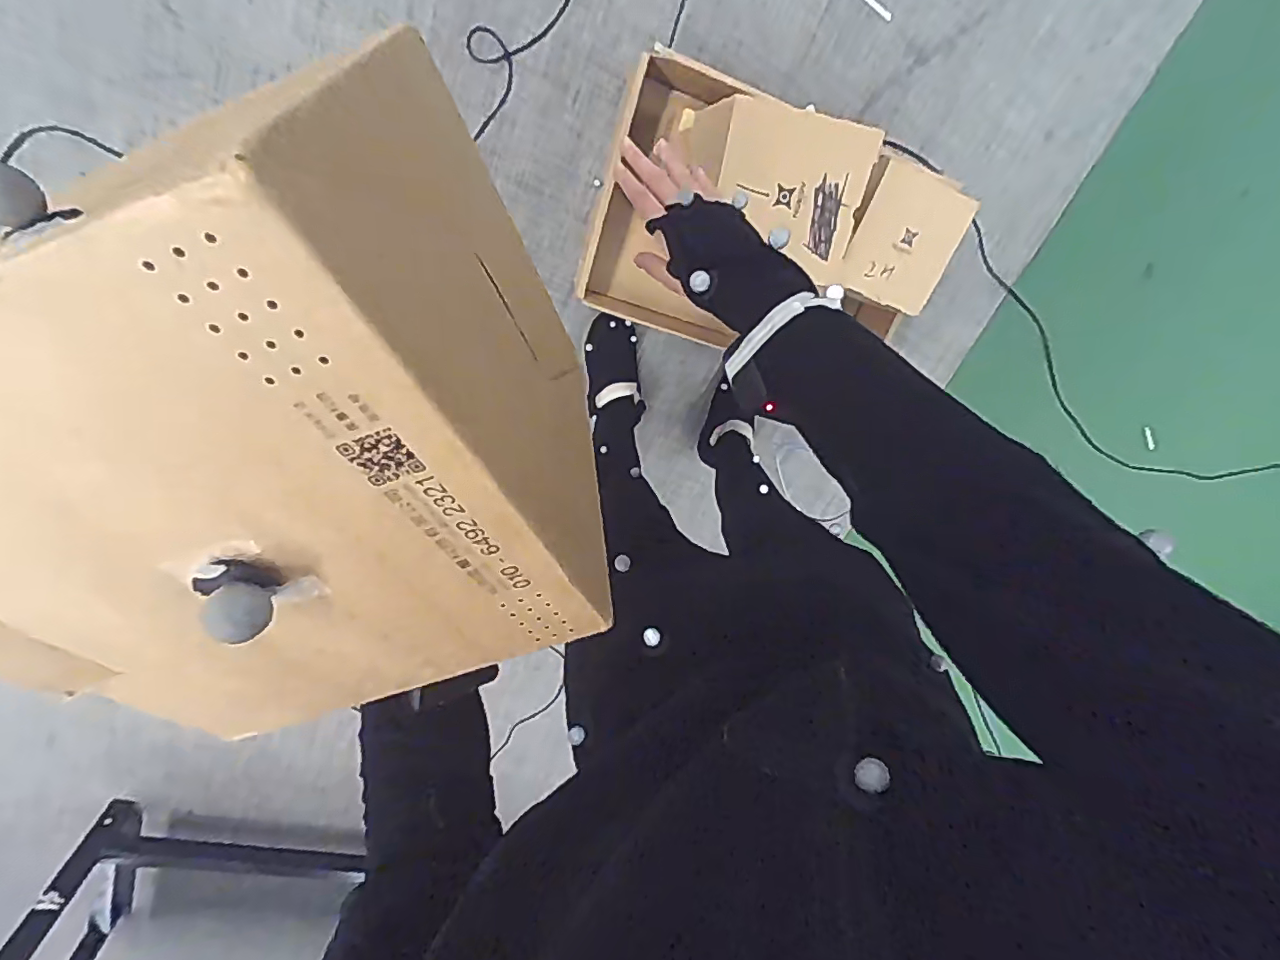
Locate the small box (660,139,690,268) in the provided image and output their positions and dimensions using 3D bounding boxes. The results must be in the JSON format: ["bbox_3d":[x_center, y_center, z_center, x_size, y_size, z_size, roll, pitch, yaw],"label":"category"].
[{"bbox_3d":[0.136,-0.414,0.814,0.179,0.176,0.168,-2,118,-9],"label":"small box"}]

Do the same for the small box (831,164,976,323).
[{"bbox_3d":[0.377,-0.377,0.869,0.168,0.176,0.179,16,114,-16],"label":"small box"}]

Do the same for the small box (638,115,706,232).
[{"bbox_3d":[0.108,-0.504,0.947,0.179,0.176,0.168,13,115,-17],"label":"small box"}]

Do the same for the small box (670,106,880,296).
[{"bbox_3d":[0.150,-0.338,0.668,0.179,0.176,0.168,5,117,-12],"label":"small box"}]
